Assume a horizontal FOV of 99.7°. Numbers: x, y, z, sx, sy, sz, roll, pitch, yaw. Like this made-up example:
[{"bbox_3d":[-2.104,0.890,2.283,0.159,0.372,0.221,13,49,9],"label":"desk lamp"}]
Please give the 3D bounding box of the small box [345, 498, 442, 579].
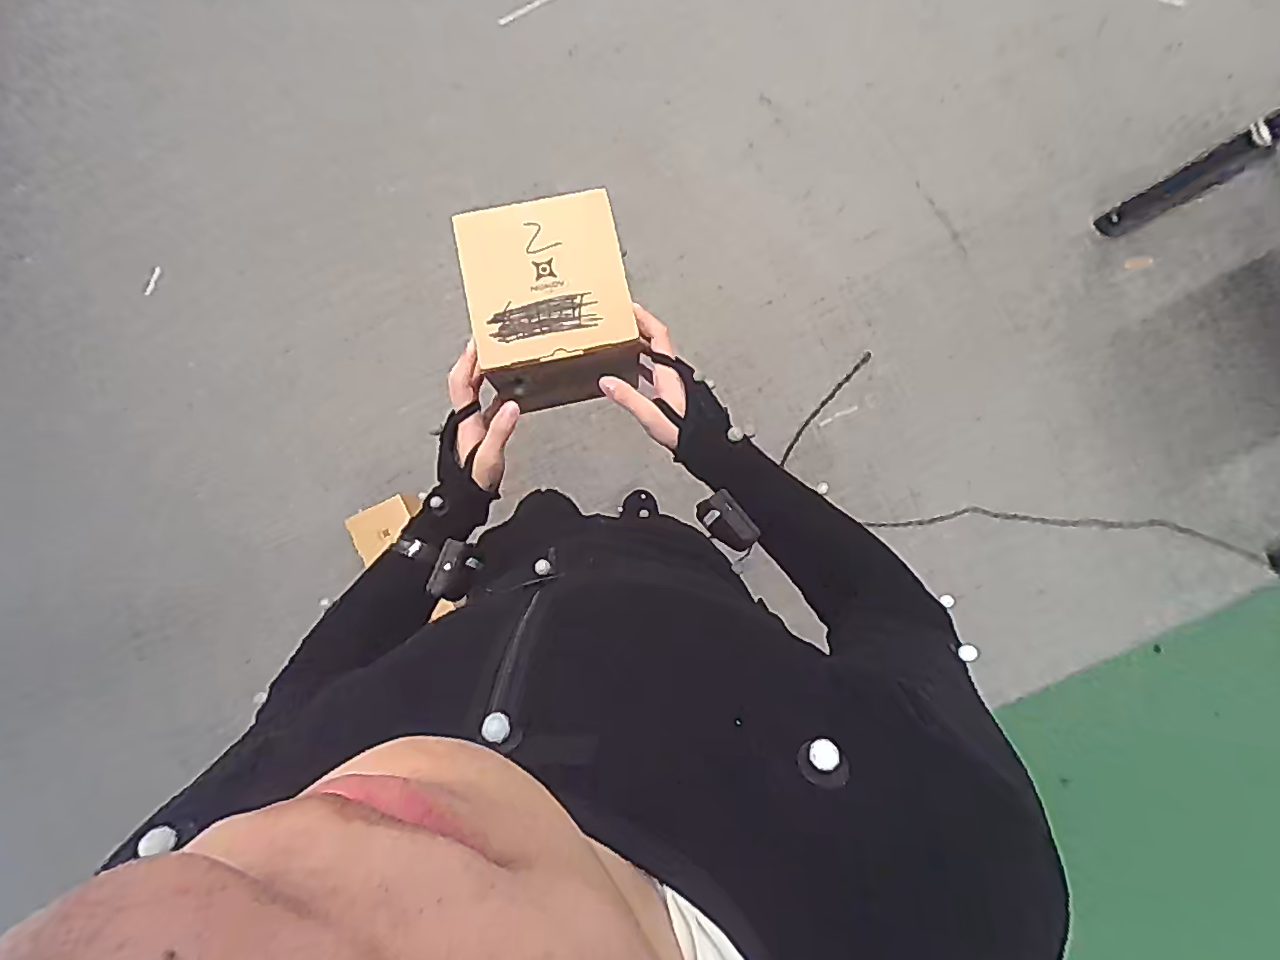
[{"bbox_3d":[-0.699,0.161,1.564,0.179,0.176,0.168,-27,90,2],"label":"small box"}]
